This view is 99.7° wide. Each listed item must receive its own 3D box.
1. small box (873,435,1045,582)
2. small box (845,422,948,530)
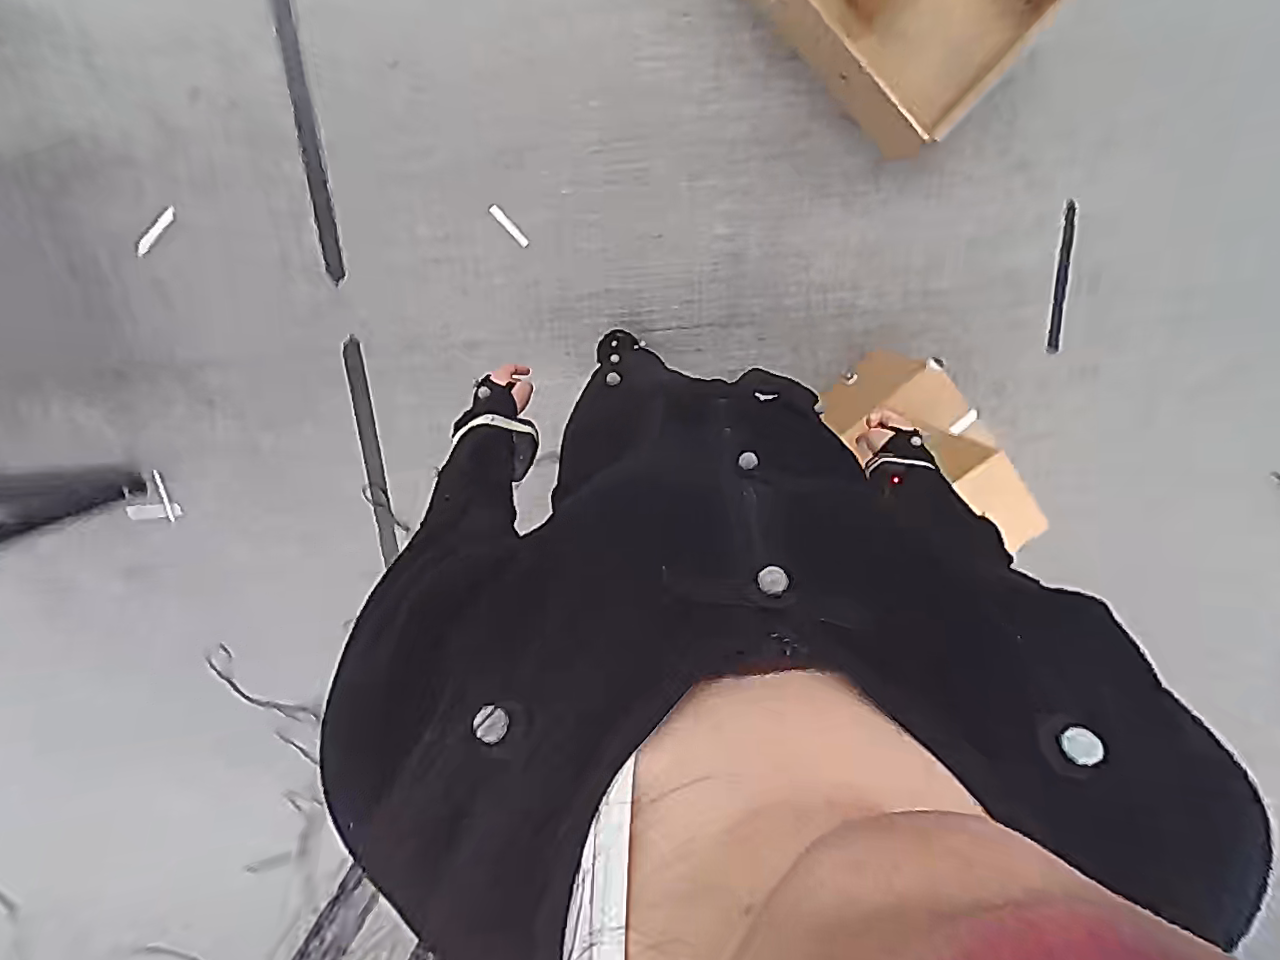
[{"bbox_3d":[0.559,0.043,0.970,0.168,0.176,0.179,-38,103,10],"label":"small box"},{"bbox_3d":[0.562,-0.004,1.125,0.168,0.176,0.179,-40,104,11],"label":"small box"}]
